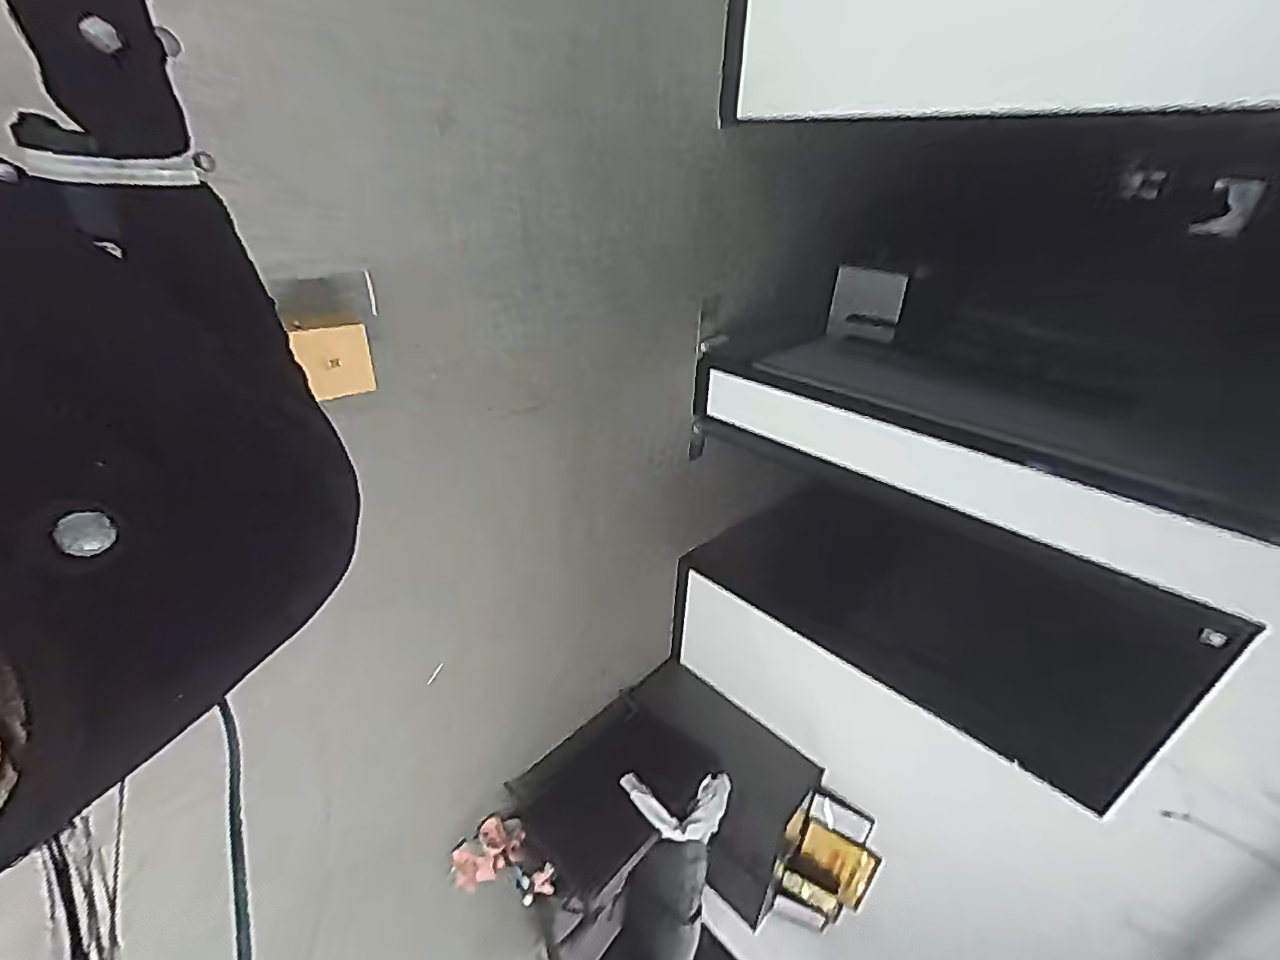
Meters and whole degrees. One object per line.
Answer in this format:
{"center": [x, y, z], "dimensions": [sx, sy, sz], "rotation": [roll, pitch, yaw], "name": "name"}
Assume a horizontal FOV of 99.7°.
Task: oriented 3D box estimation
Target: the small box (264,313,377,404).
{"center": [-0.771, -0.302, 1.310], "dimensions": [0.179, 0.176, 0.168], "rotation": [-23, 129, -40], "name": "small box"}
